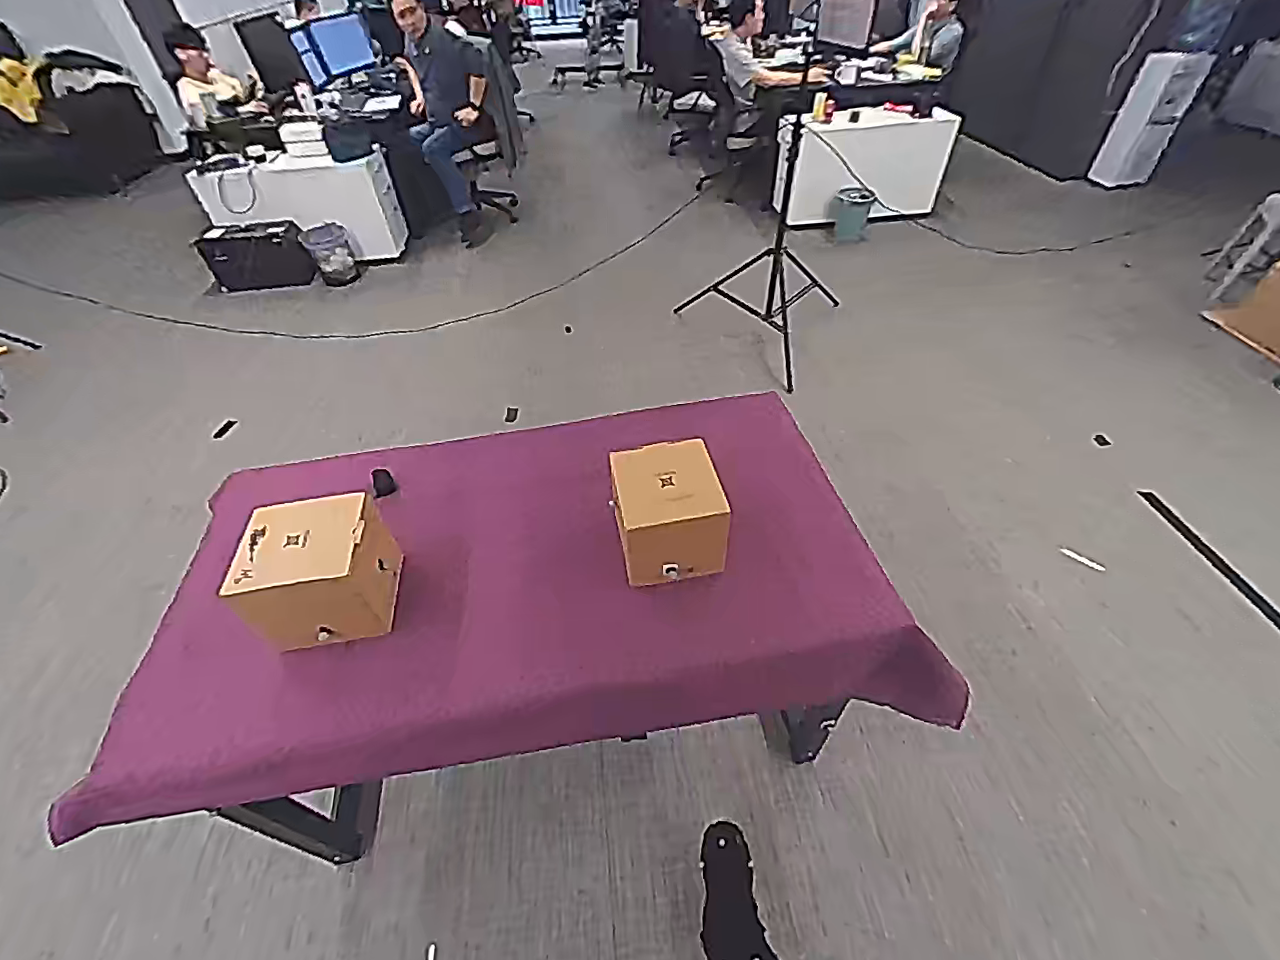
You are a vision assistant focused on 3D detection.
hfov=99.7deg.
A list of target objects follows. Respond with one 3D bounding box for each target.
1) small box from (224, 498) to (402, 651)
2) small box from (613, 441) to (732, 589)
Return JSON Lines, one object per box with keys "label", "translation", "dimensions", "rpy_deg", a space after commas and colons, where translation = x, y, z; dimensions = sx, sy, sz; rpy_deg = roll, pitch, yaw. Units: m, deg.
{"label": "small box", "translation": [-0.501, 0.152, 0.867], "dimensions": [0.179, 0.176, 0.168], "rpy_deg": [-8, 45, -6]}
{"label": "small box", "translation": [0.049, 0.060, 0.930], "dimensions": [0.168, 0.176, 0.179], "rpy_deg": [-10, 46, -5]}
